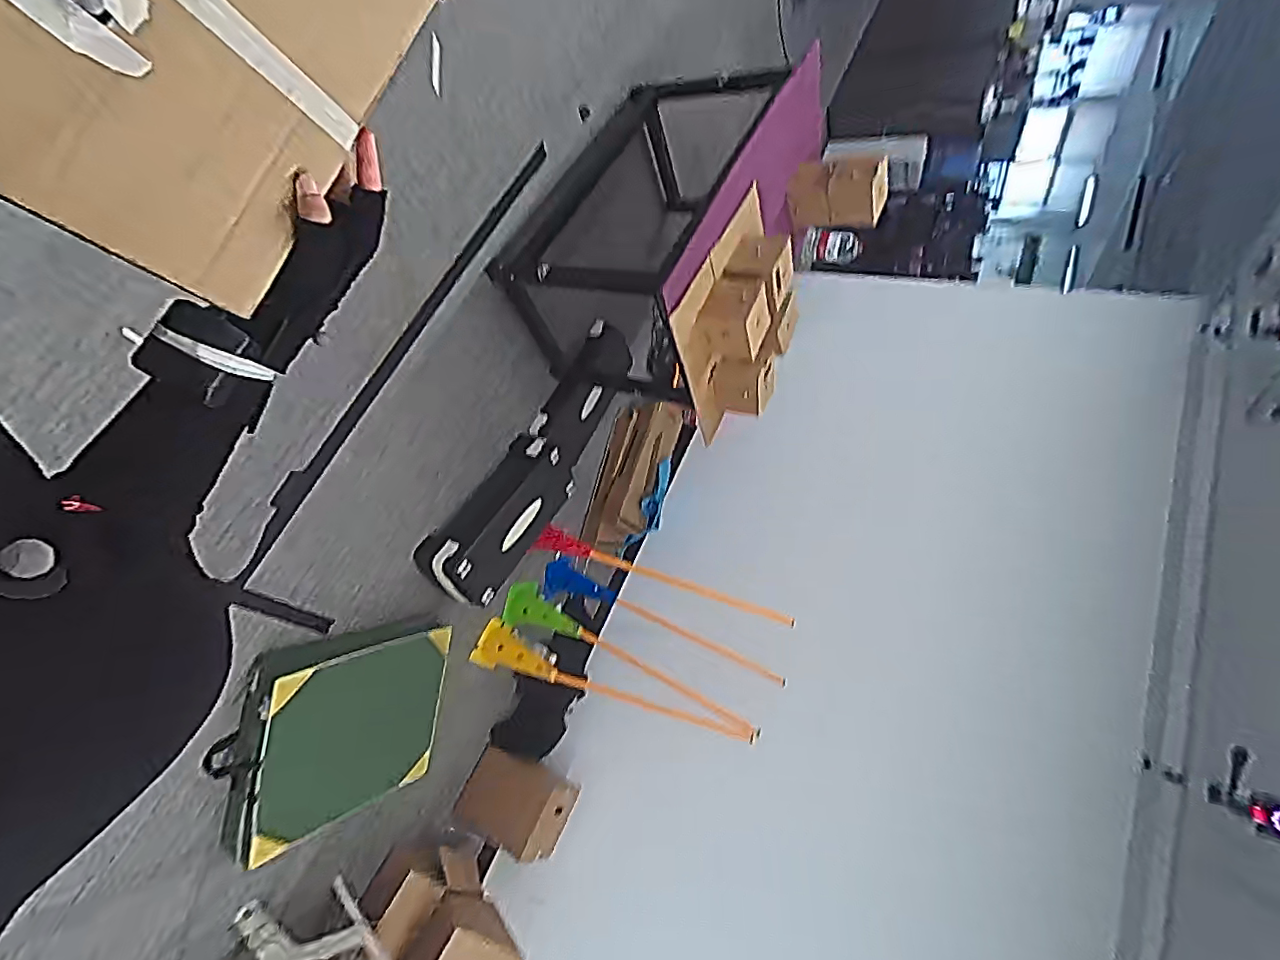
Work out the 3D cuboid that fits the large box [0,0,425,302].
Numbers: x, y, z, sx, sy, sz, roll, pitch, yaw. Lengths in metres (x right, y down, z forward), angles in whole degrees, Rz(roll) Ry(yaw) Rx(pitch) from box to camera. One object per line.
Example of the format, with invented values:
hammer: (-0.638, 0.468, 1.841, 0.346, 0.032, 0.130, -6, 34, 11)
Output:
large box: (-0.431, -0.374, 0.329, 0.320, 0.320, 0.408, -62, 148, -3)
